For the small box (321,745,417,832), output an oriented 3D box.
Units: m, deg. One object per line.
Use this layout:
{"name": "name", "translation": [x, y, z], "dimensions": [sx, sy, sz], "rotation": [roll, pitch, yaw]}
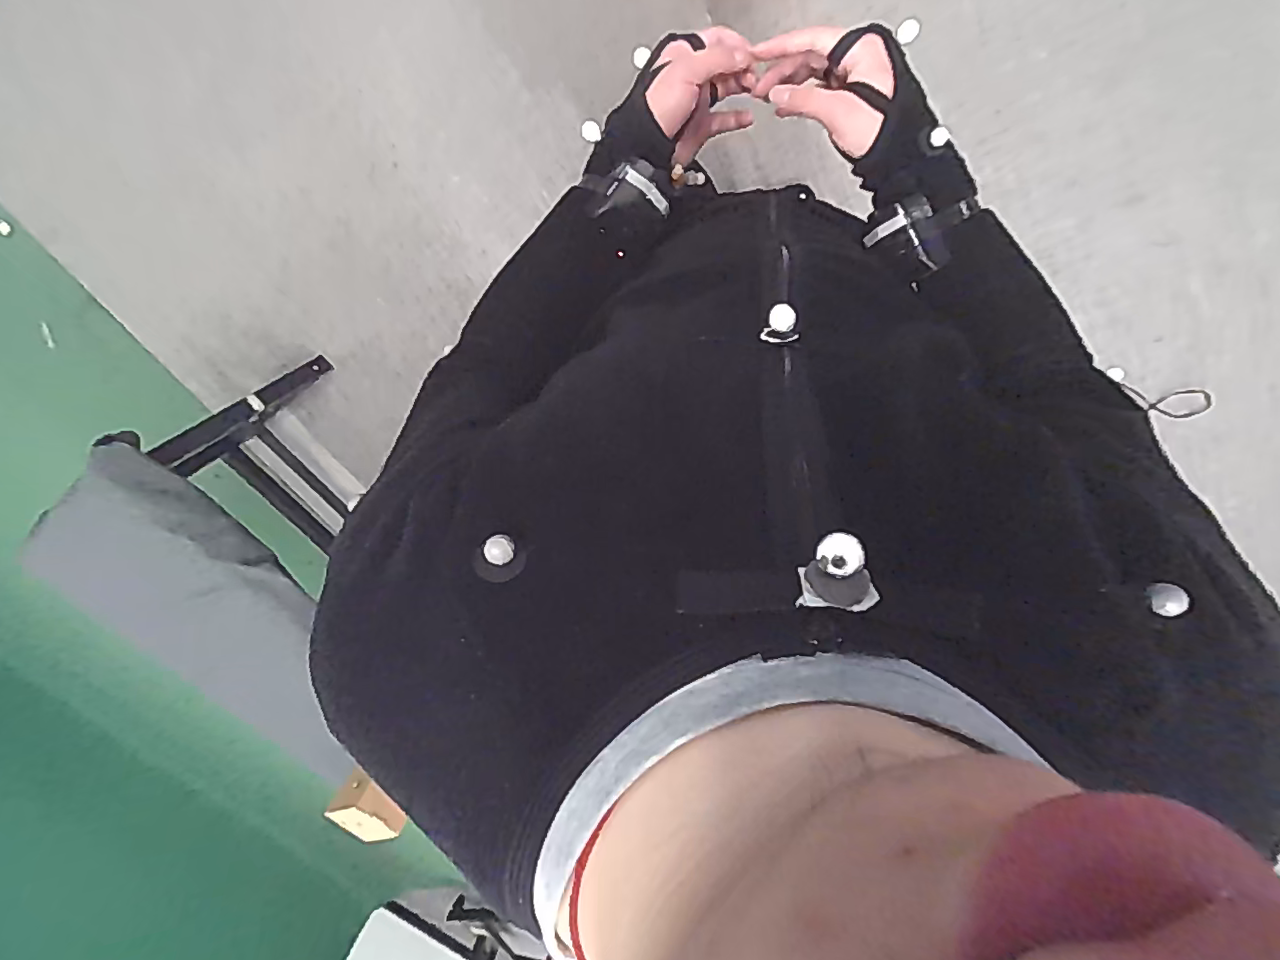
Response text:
{"name": "small box", "translation": [-0.813, 0.934, 1.646], "dimensions": [0.179, 0.176, 0.168], "rotation": [-27, 114, 26]}
